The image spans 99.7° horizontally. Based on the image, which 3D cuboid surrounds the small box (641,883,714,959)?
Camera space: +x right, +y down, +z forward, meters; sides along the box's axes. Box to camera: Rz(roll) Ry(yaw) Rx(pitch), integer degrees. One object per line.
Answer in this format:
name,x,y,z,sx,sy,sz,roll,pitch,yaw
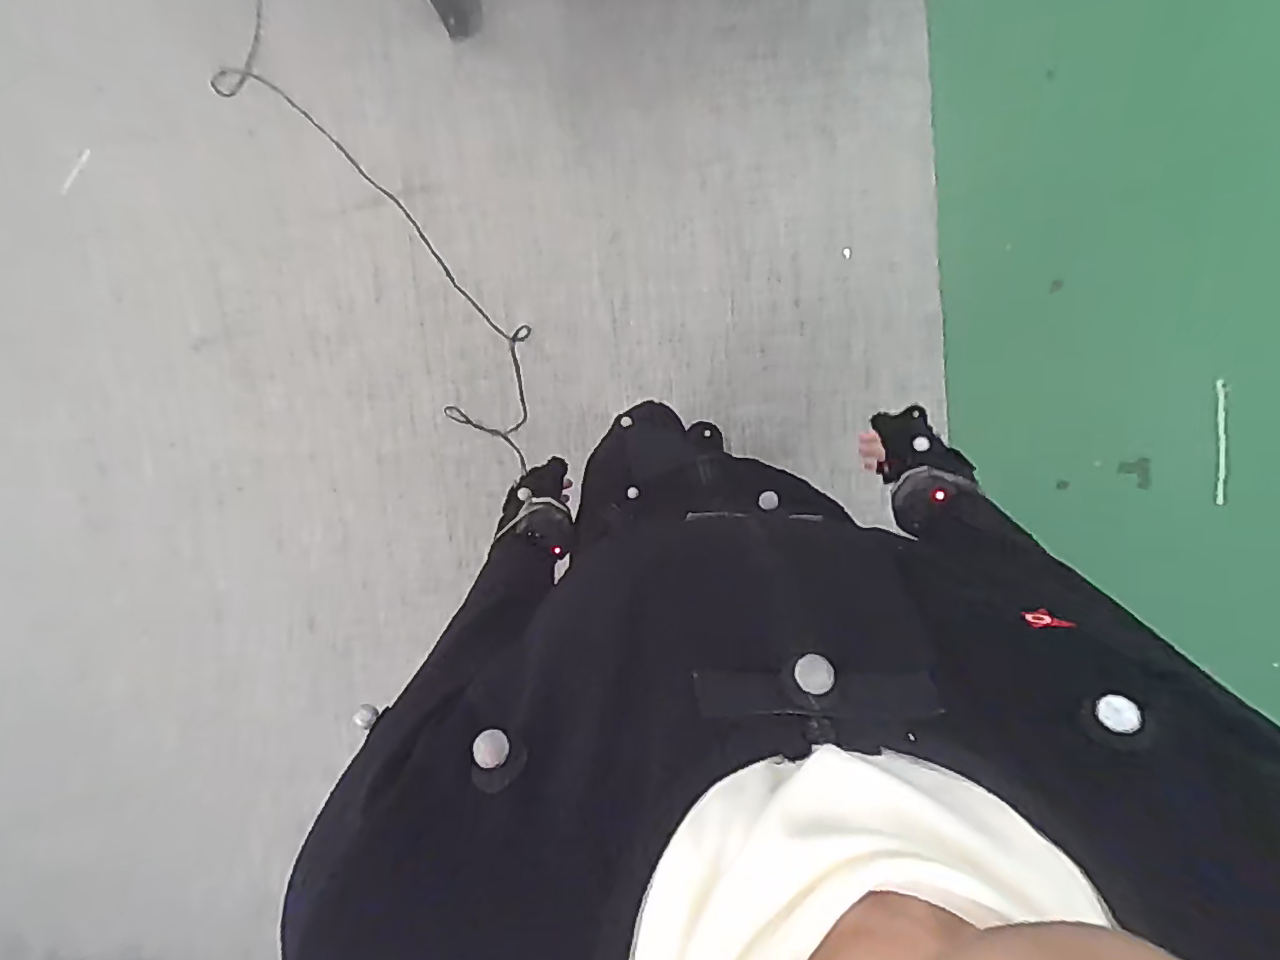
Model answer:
small box,0.101,1.208,1.425,0.179,0.176,0.168,-7,96,3
